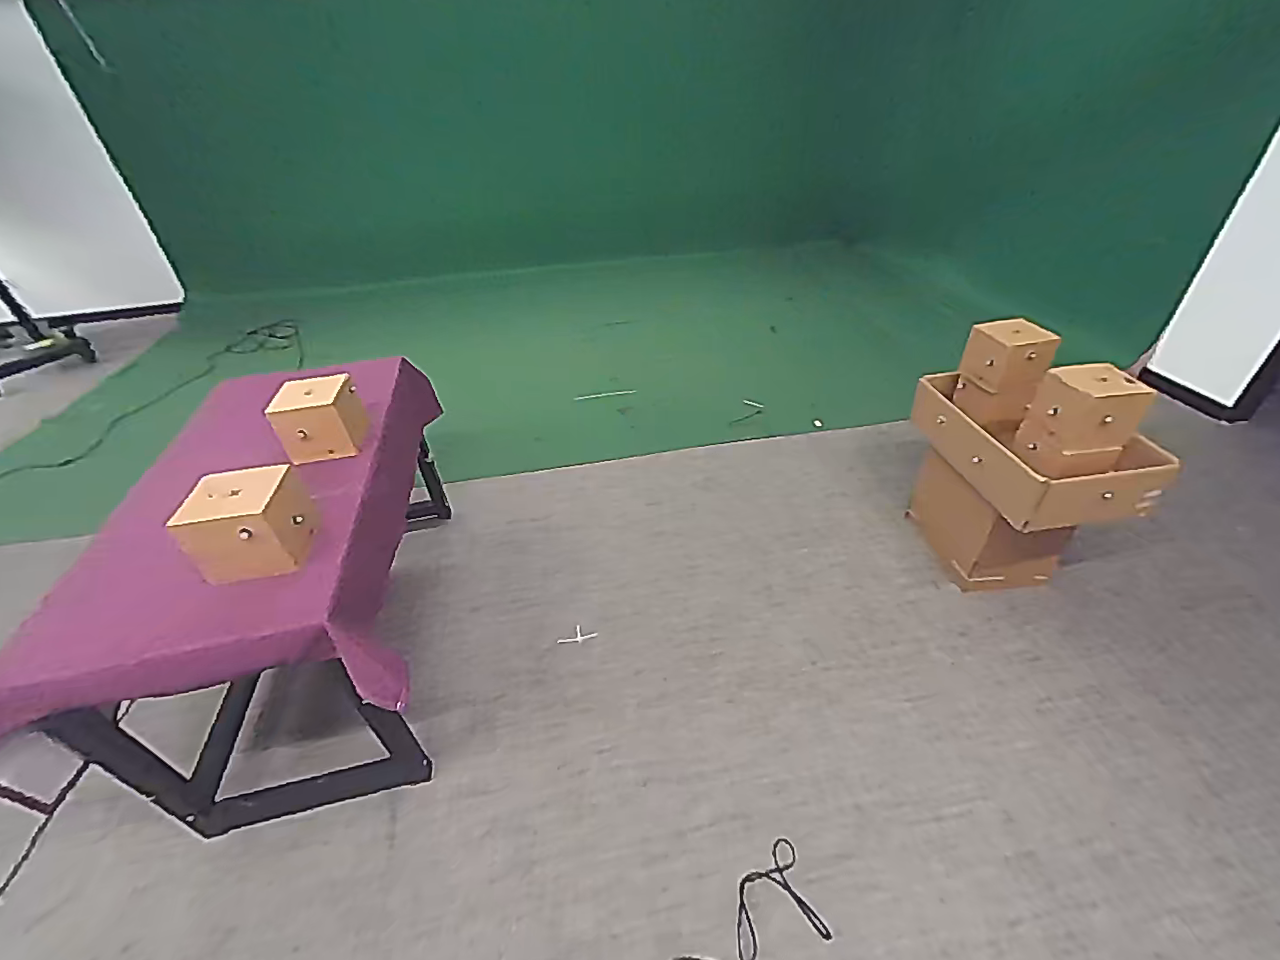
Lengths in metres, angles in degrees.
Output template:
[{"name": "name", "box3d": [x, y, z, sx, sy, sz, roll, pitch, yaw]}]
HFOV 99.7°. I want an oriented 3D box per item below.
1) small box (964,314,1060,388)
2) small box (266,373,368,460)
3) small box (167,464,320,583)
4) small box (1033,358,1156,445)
[{"name": "small box", "box3d": [1.166, -0.407, 1.716, 0.179, 0.176, 0.168, -10, 39, -7]}, {"name": "small box", "box3d": [-0.863, -0.167, 1.466, 0.168, 0.176, 0.179, -10, 38, -6]}, {"name": "small box", "box3d": [-0.809, 0.092, 1.130, 0.179, 0.176, 0.168, -9, 38, -5]}, {"name": "small box", "box3d": [1.209, -0.209, 1.461, 0.179, 0.176, 0.168, -7, 39, -2]}]
